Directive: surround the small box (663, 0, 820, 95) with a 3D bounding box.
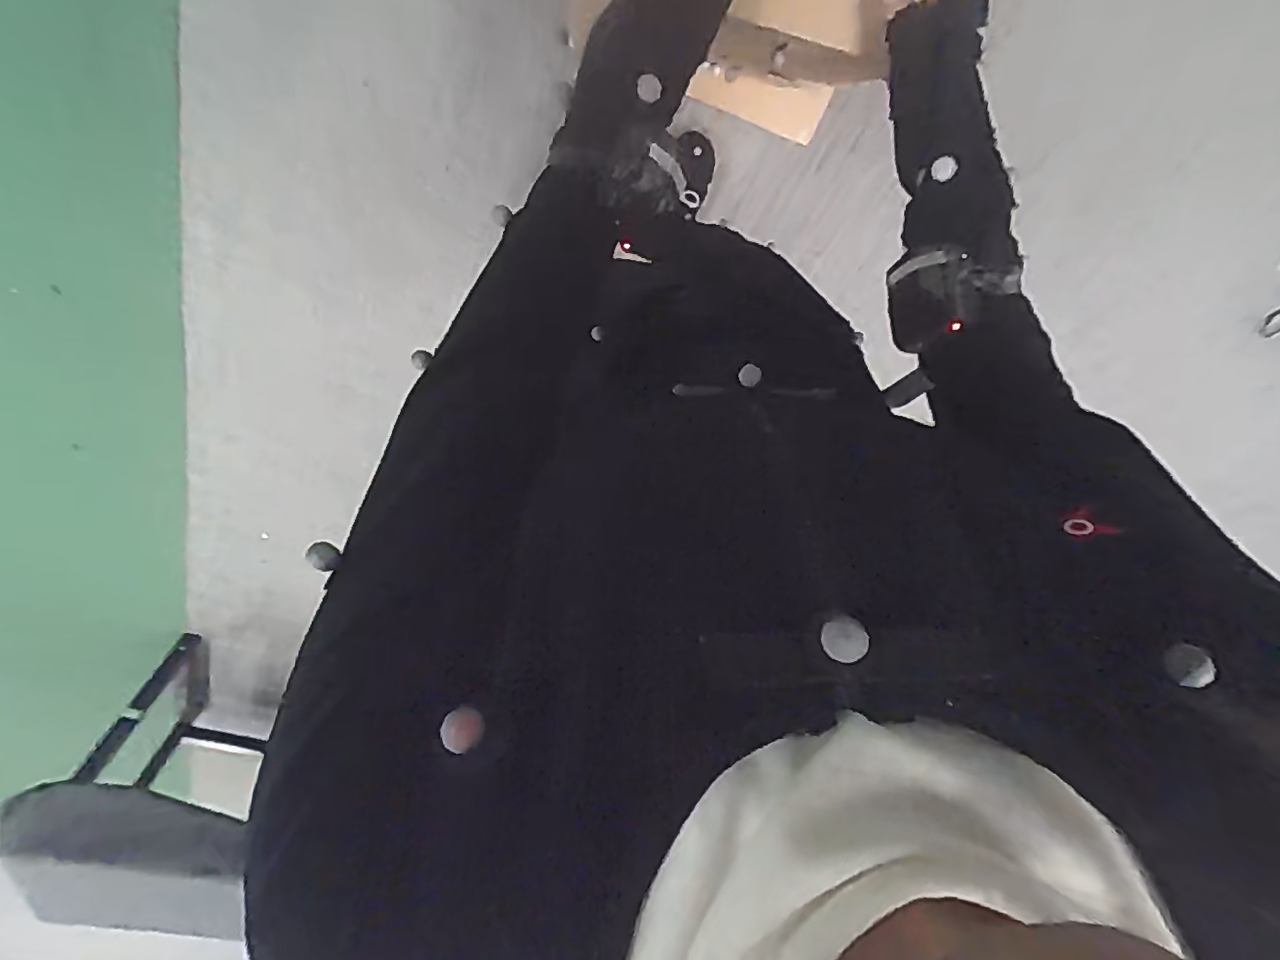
[{"bbox_3d":[0.126,-0.527,0.552,0.168,0.176,0.179,13,127,-10],"label":"small box"}]

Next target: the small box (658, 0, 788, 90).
[{"bbox_3d":[0.128,-0.622,0.684,0.179,0.176,0.168,10,127,-9],"label":"small box"}]

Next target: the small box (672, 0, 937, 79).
[{"bbox_3d":[0.127,-0.423,0.406,0.179,0.176,0.168,9,122,-8],"label":"small box"}]
